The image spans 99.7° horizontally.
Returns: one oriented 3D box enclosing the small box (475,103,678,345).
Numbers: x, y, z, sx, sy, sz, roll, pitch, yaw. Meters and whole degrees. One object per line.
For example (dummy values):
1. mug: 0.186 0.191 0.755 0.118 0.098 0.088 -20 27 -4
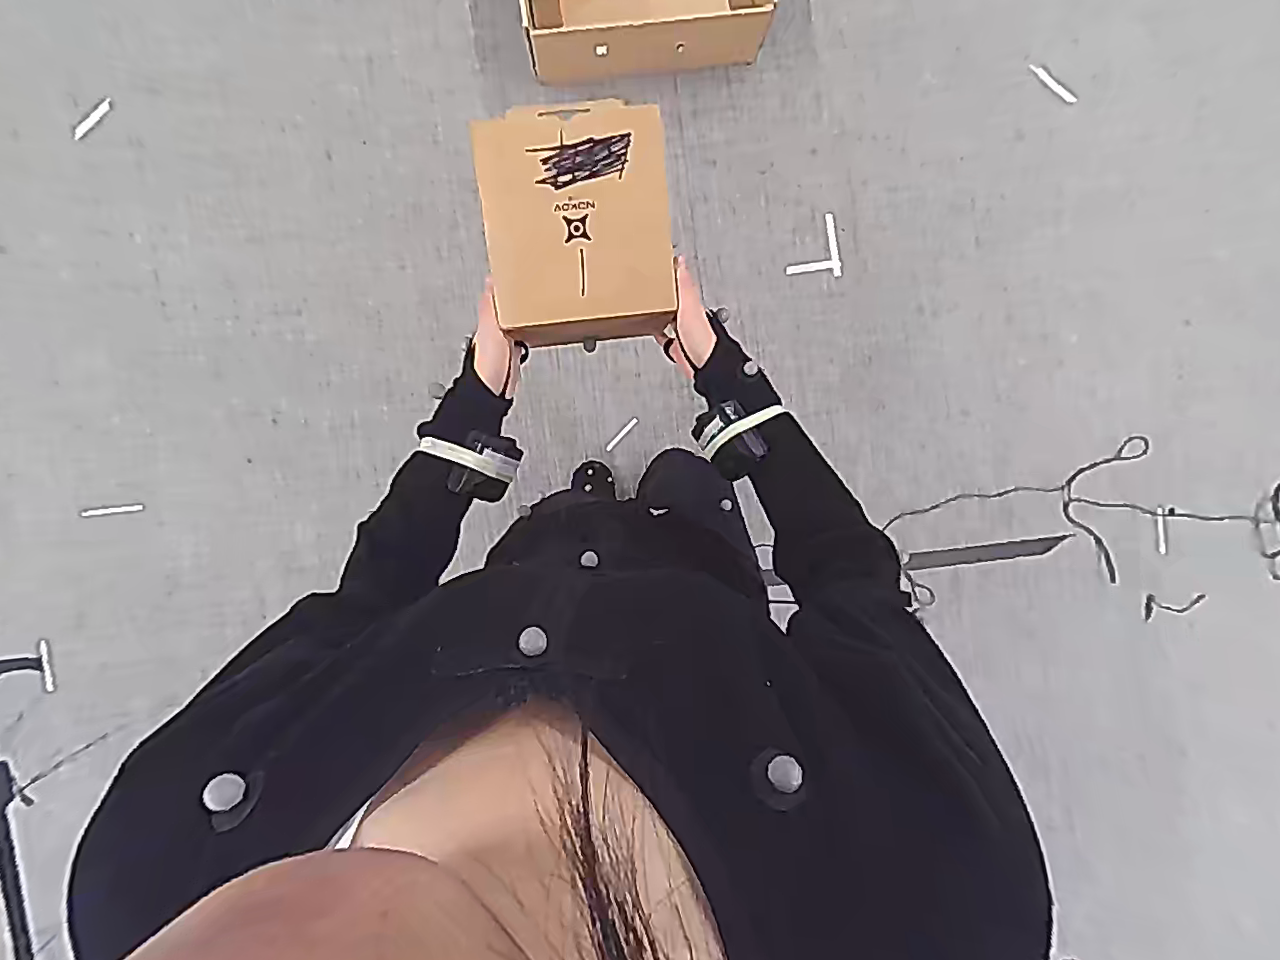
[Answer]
1. small box: -0.058 -0.242 0.554 0.168 0.176 0.179 -6 98 -1
